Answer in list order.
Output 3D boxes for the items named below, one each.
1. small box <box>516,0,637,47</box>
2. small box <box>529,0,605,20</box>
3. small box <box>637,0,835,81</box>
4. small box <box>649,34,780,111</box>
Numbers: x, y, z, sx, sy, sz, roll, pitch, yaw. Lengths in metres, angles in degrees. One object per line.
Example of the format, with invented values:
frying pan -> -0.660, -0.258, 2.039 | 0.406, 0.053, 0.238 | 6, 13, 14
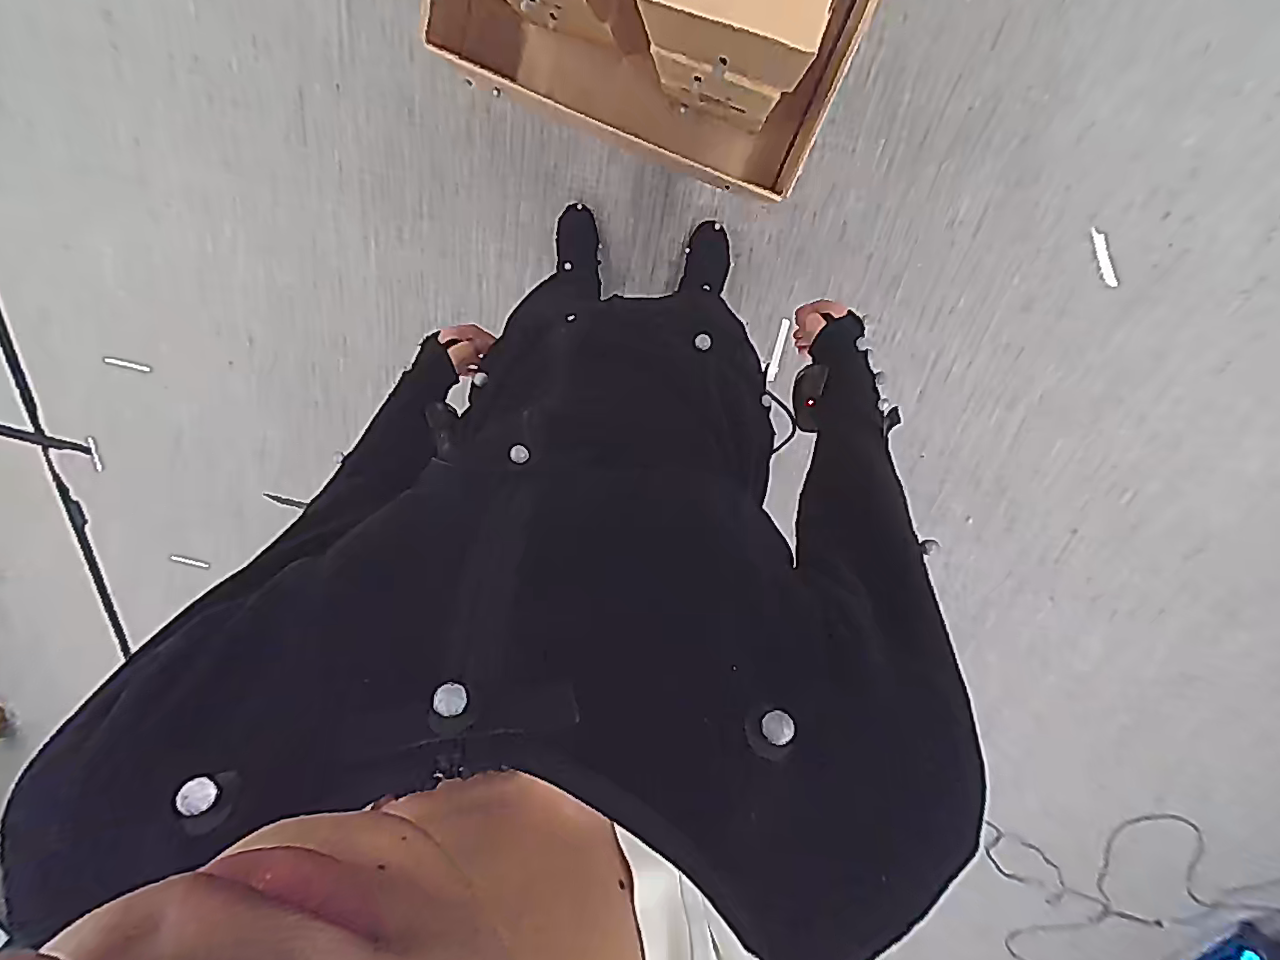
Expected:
small box -> -0.092, -0.769, 0.787 | 0.179, 0.176, 0.168 | 18, 118, -3
small box -> -0.119, -0.699, 0.641 | 0.168, 0.176, 0.179 | 17, 118, 0
small box -> 0.107, -0.517, 0.523 | 0.179, 0.176, 0.168 | 17, 117, -2
small box -> 0.122, -0.590, 0.670 | 0.168, 0.176, 0.179 | 19, 117, -3
